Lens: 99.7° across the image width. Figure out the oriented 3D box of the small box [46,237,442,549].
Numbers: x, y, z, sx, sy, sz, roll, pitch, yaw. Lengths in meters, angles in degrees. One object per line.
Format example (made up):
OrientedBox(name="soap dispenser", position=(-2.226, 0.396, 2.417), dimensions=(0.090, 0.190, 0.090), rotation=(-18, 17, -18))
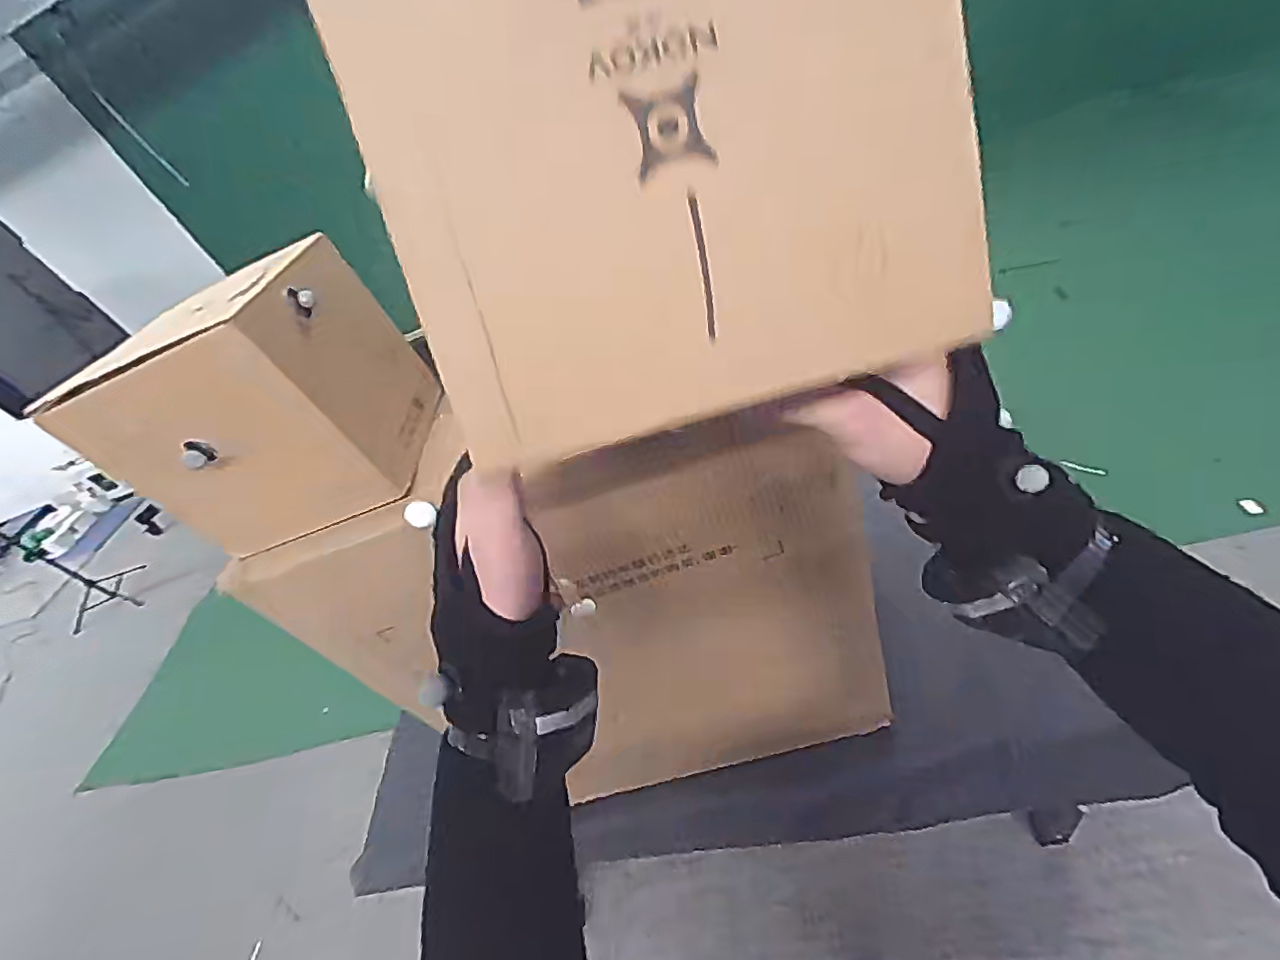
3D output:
OrientedBox(name="small box", position=(-0.304, -0.067, 0.461), dimensions=(0.179, 0.176, 0.168), rotation=(-21, 42, 11))
